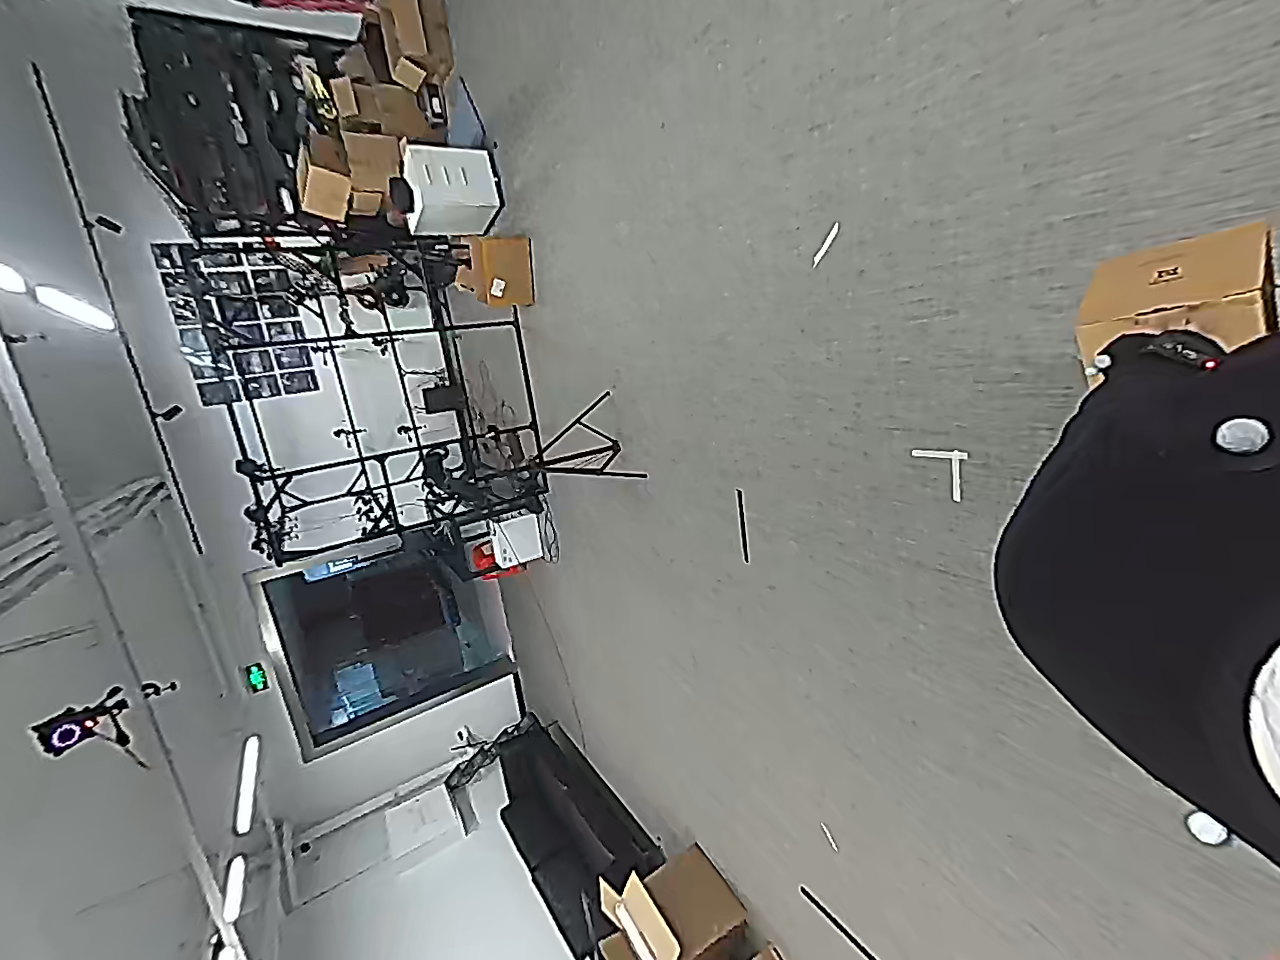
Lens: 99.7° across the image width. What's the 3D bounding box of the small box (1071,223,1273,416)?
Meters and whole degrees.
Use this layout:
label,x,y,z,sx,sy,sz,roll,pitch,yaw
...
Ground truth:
label,x,y,z,sx,sy,sz,roll,pitch,yaw
small box,0.716,-0.199,0.725,0.168,0.179,0.176,-2,132,53
